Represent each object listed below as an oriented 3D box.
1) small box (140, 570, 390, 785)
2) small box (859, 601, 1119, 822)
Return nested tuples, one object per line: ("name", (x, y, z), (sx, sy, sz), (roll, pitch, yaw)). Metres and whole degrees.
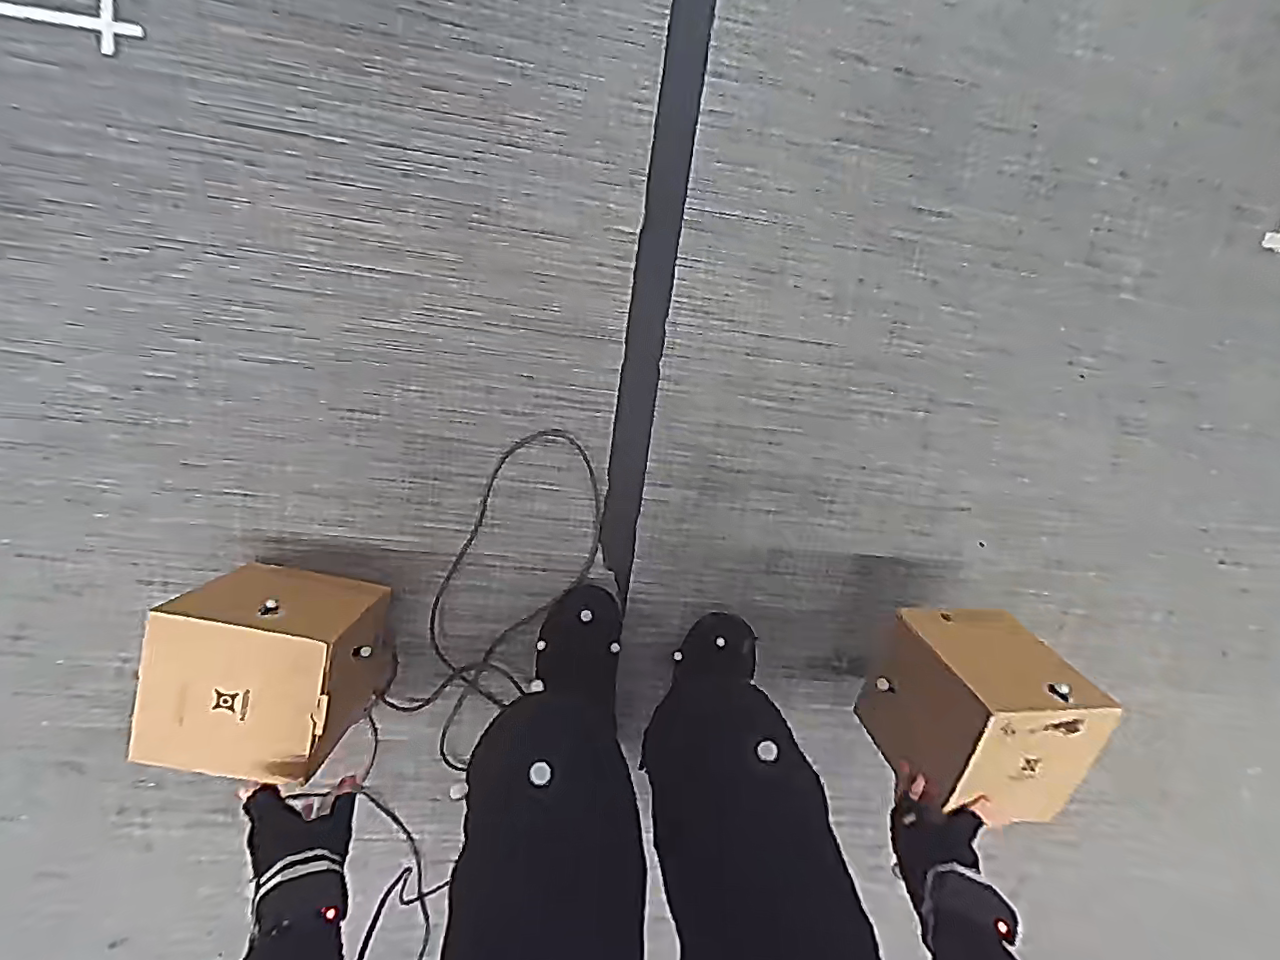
("small box", (-0.416, 0.216, 0.630), (0.179, 0.176, 0.168), (11, 96, -6))
("small box", (0.392, 0.268, 0.647), (0.168, 0.176, 0.179), (3, 114, -13))
